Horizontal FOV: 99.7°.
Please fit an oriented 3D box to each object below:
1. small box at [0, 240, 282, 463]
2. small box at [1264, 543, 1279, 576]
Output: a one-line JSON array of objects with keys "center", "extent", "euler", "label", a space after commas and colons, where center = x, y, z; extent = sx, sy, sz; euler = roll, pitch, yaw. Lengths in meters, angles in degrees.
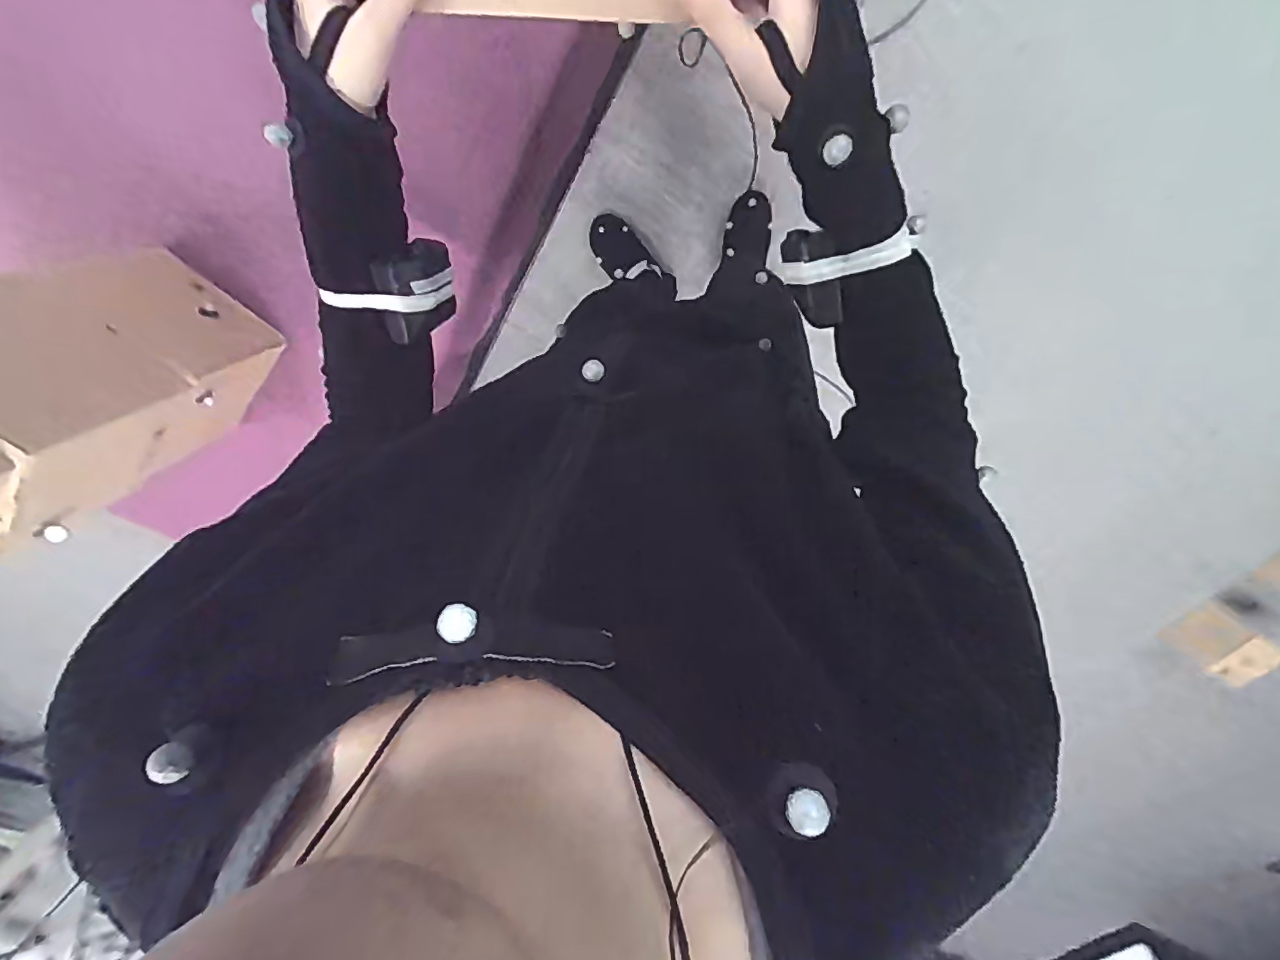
[{"center": [-0.580, -0.159, 0.649], "extent": [0.168, 0.176, 0.179], "euler": [39, 113, -18], "label": "small box"}, {"center": [2.045, 0.260, 1.609], "extent": [0.168, 0.176, 0.179], "euler": [25, 116, -11], "label": "small box"}]
